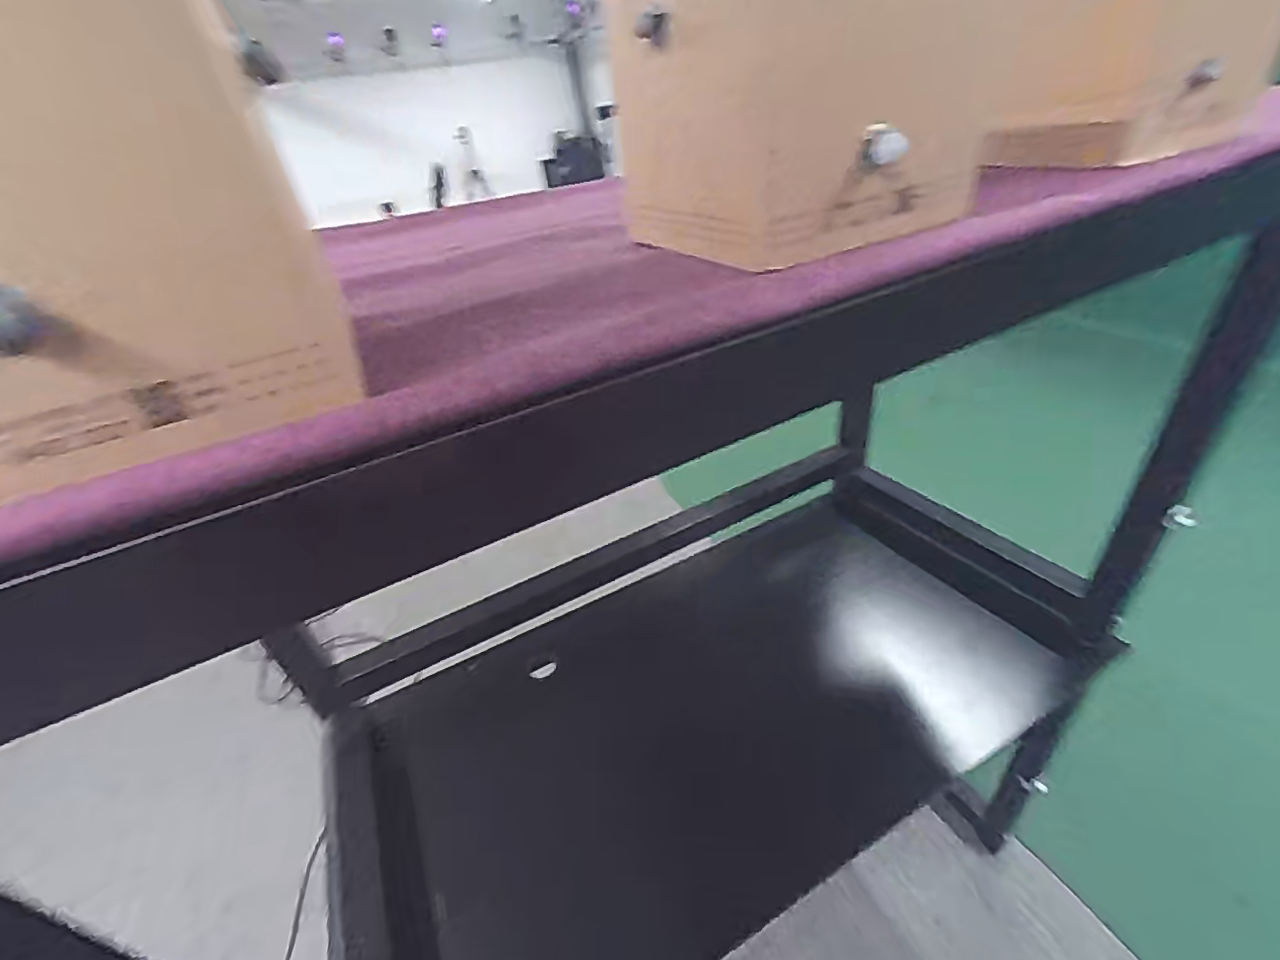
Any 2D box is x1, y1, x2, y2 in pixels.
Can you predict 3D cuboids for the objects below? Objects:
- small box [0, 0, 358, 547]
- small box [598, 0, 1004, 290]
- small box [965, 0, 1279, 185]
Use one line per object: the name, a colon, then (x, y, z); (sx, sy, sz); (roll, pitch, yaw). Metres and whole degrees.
small box: (-0.233, -0.093, 0.217); (0.168, 0.176, 0.179); (-23, 36, -18)
small box: (0.087, -0.234, 0.347); (0.168, 0.176, 0.179); (-22, 38, -17)
small box: (0.383, -0.358, 0.456); (0.168, 0.176, 0.179); (-21, 38, -16)
